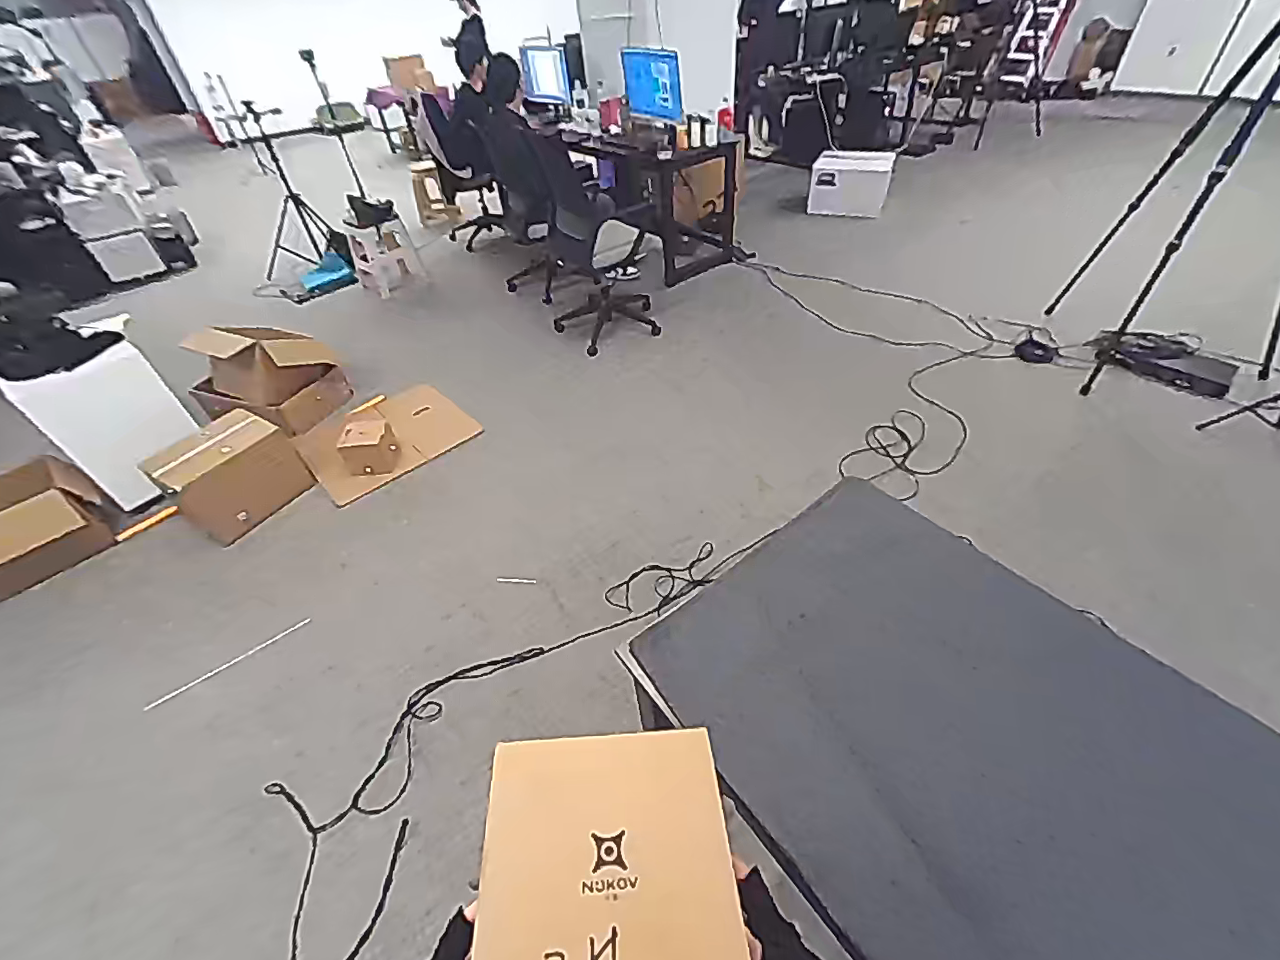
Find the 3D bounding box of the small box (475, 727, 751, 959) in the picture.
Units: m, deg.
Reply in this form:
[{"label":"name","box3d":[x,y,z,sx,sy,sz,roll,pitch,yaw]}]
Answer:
[{"label":"small box","box3d":[-0.022,0.313,0.406,0.168,0.176,0.179,-2,40,-5]}]
